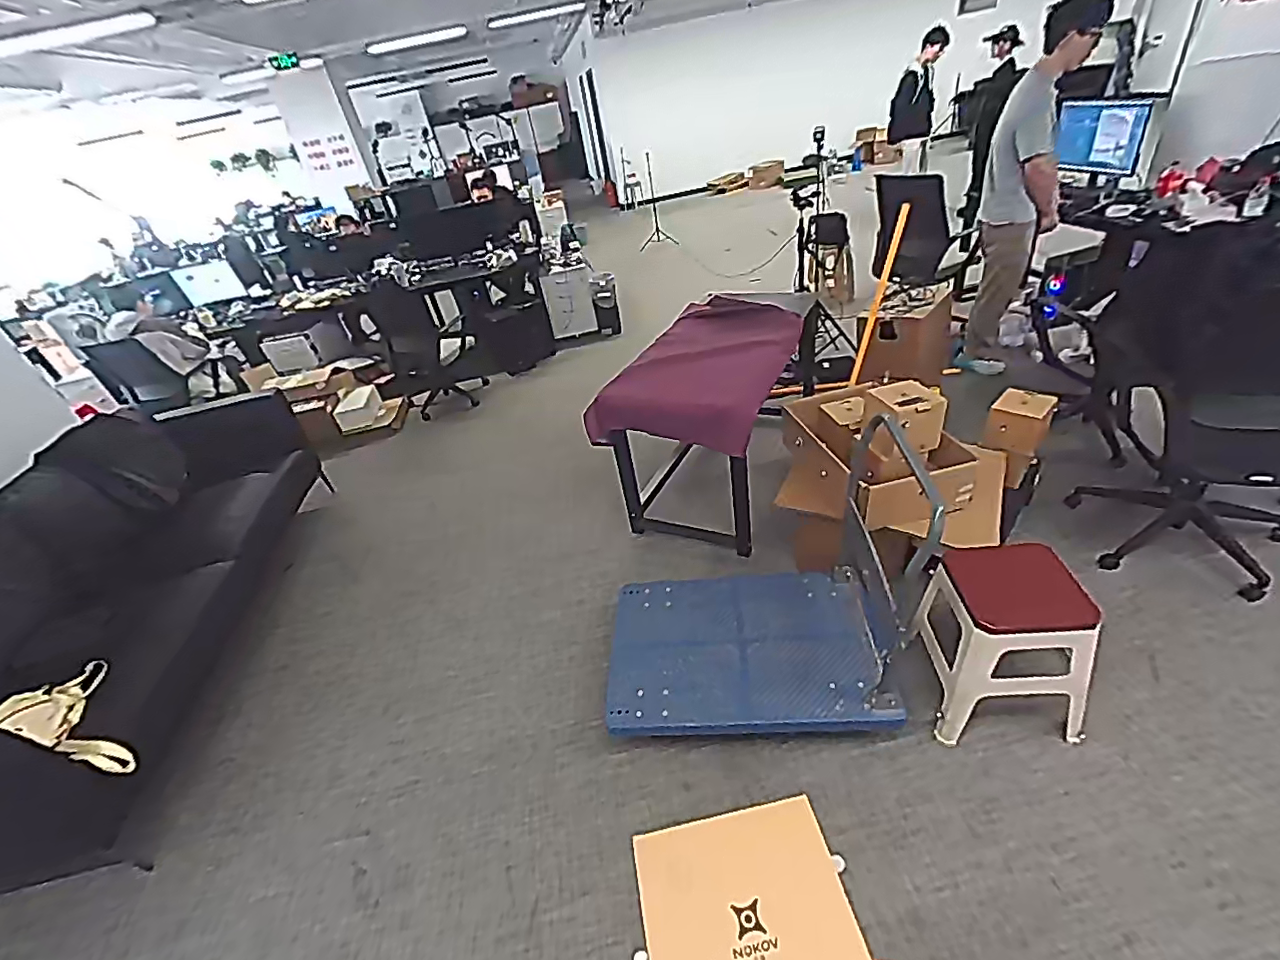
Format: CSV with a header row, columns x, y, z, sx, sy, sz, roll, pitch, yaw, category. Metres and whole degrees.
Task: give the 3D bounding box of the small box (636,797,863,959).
x,y,z,sx,sy,sz,roll,pitch,yaw,category
0.096,0.423,0.480,0.168,0.176,0.179,-12,37,-2,small box
